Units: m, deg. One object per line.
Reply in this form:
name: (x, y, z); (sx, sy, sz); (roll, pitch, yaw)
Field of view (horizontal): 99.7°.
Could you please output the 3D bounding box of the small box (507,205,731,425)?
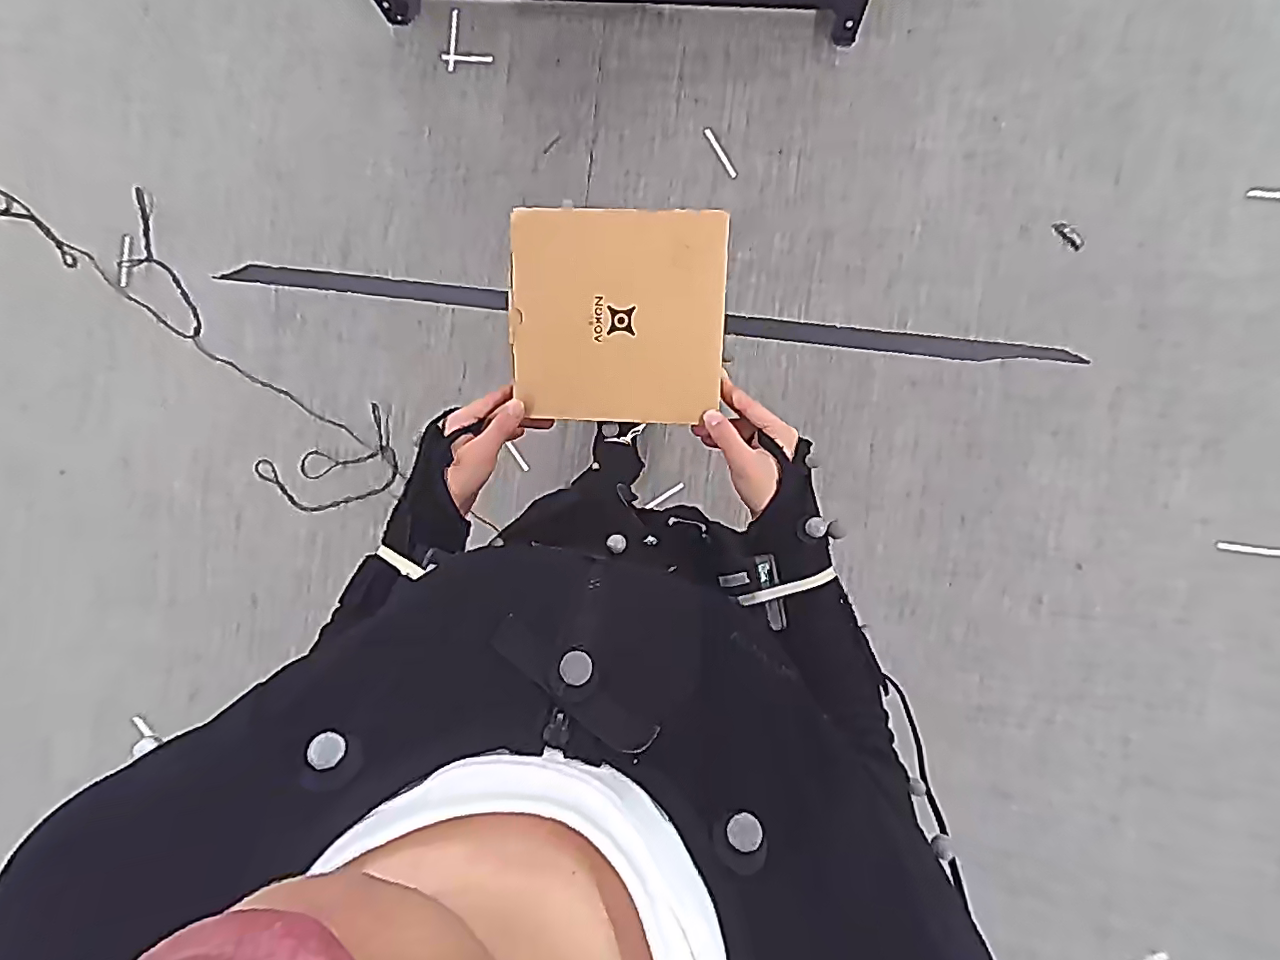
small box: (-0.012, -0.146, 0.508); (0.179, 0.176, 0.168); (3, 101, 6)
